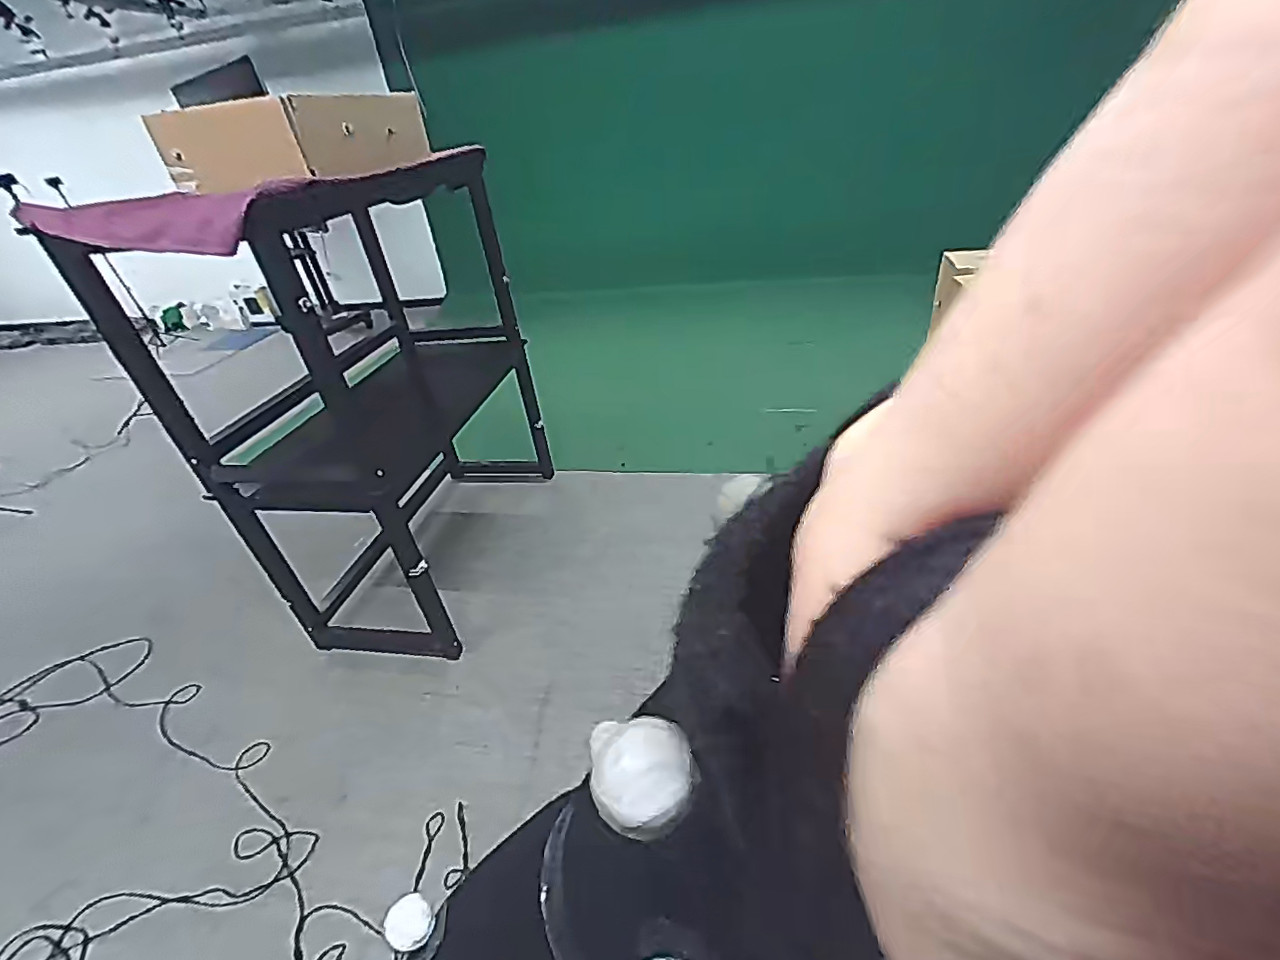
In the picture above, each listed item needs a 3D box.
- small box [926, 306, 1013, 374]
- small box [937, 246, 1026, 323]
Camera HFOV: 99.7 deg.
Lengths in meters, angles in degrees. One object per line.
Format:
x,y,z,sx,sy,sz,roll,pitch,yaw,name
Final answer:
1.006,-0.434,1.666,0.179,0.176,0.168,3,37,14,small box
0.980,-0.564,1.568,0.168,0.176,0.179,3,38,14,small box
